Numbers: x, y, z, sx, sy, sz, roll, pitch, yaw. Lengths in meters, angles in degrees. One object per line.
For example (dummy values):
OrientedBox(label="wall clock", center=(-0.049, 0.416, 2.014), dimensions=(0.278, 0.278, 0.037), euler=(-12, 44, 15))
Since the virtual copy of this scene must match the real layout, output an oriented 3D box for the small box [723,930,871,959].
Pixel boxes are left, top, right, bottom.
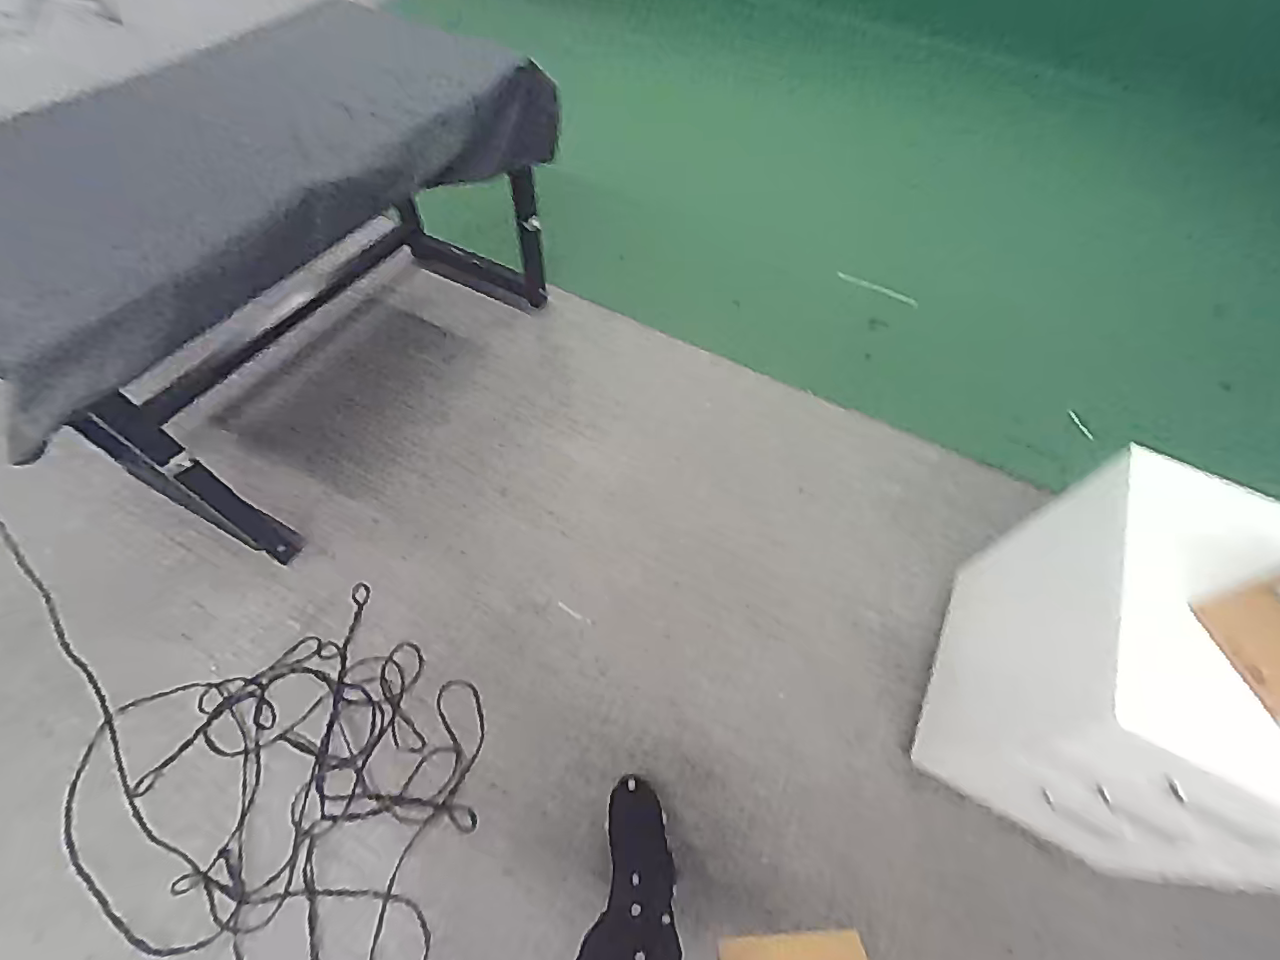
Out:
OrientedBox(label="small box", center=(0.181, 0.628, 0.566), dimensions=(0.168, 0.176, 0.179), euler=(-4, 13, 0))
